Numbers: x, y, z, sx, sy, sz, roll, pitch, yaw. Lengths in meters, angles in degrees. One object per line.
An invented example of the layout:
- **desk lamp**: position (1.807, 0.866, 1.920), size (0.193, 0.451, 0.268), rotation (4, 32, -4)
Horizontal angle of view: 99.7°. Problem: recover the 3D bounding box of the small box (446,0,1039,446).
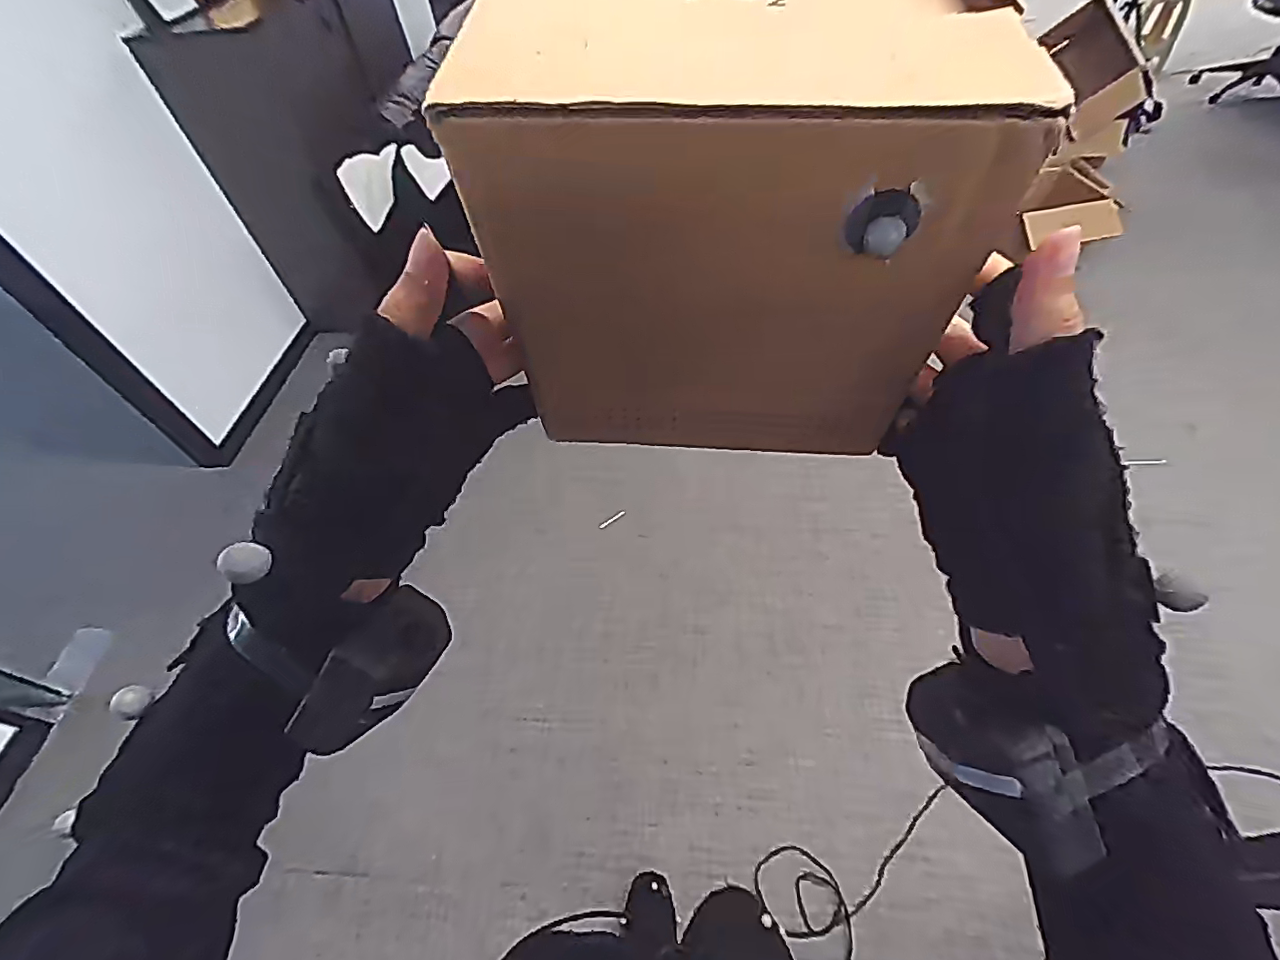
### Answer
- **small box**: position (0.037, -0.130, 0.266), size (0.179, 0.176, 0.168), rotation (3, 60, 4)
